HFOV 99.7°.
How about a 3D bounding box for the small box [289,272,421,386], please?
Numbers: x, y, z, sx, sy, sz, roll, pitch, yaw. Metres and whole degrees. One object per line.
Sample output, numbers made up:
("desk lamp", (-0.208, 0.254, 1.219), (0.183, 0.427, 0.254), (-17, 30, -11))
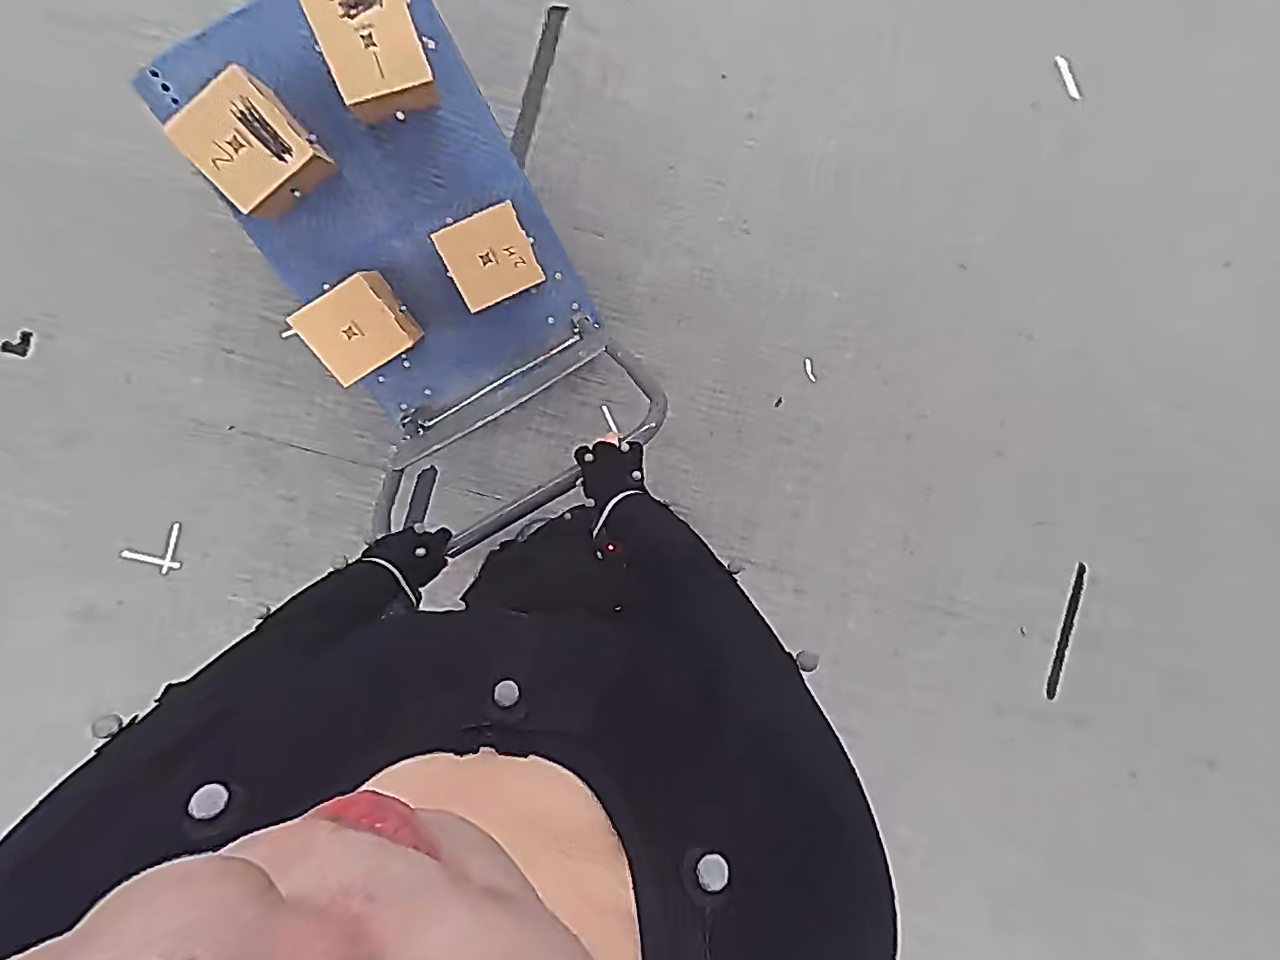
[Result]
("small box", (-0.600, -0.329, 1.167), (0.179, 0.176, 0.168), (-34, 115, -1))

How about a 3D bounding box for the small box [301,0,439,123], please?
("small box", (-0.492, -0.801, 1.007), (0.168, 0.176, 0.179), (-21, 116, -5))

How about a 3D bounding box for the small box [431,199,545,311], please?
("small box", (-0.323, -0.484, 1.174), (0.179, 0.176, 0.168), (-26, 115, -3))
